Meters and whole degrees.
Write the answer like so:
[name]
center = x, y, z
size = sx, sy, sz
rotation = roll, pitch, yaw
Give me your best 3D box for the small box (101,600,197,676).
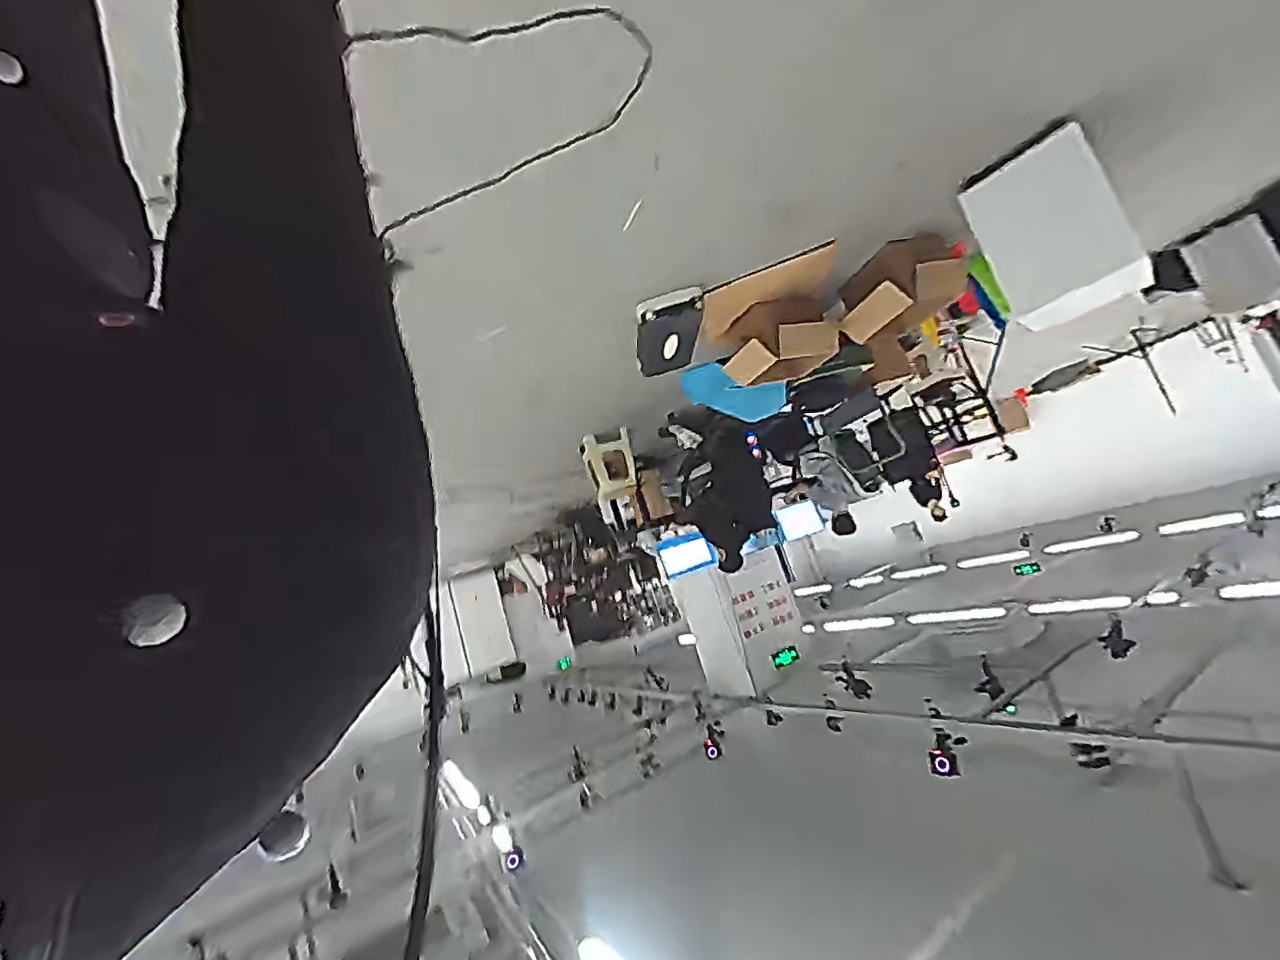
[small box]
center = -1.403, 0.450, 1.550
size = 0.168, 0.176, 0.179
rotation = -10, 169, -32
